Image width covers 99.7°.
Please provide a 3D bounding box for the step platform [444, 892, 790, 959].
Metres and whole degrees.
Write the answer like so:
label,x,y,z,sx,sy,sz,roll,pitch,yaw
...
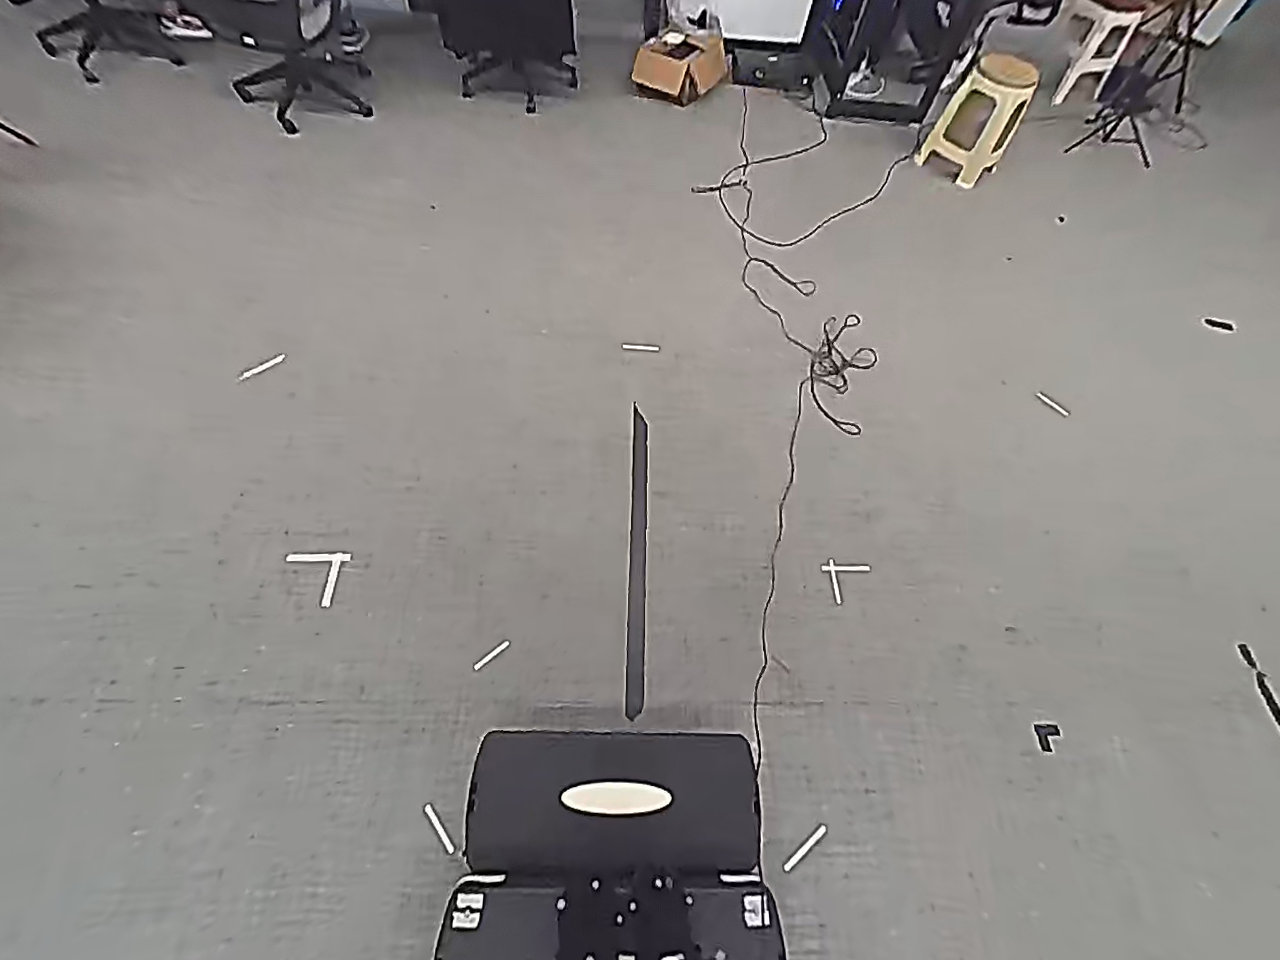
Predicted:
label,x,y,z,sx,sy,sz,roll,pitch,yaw
step platform,-0.045,1.006,1.045,0.684,0.204,0.286,5,57,0
